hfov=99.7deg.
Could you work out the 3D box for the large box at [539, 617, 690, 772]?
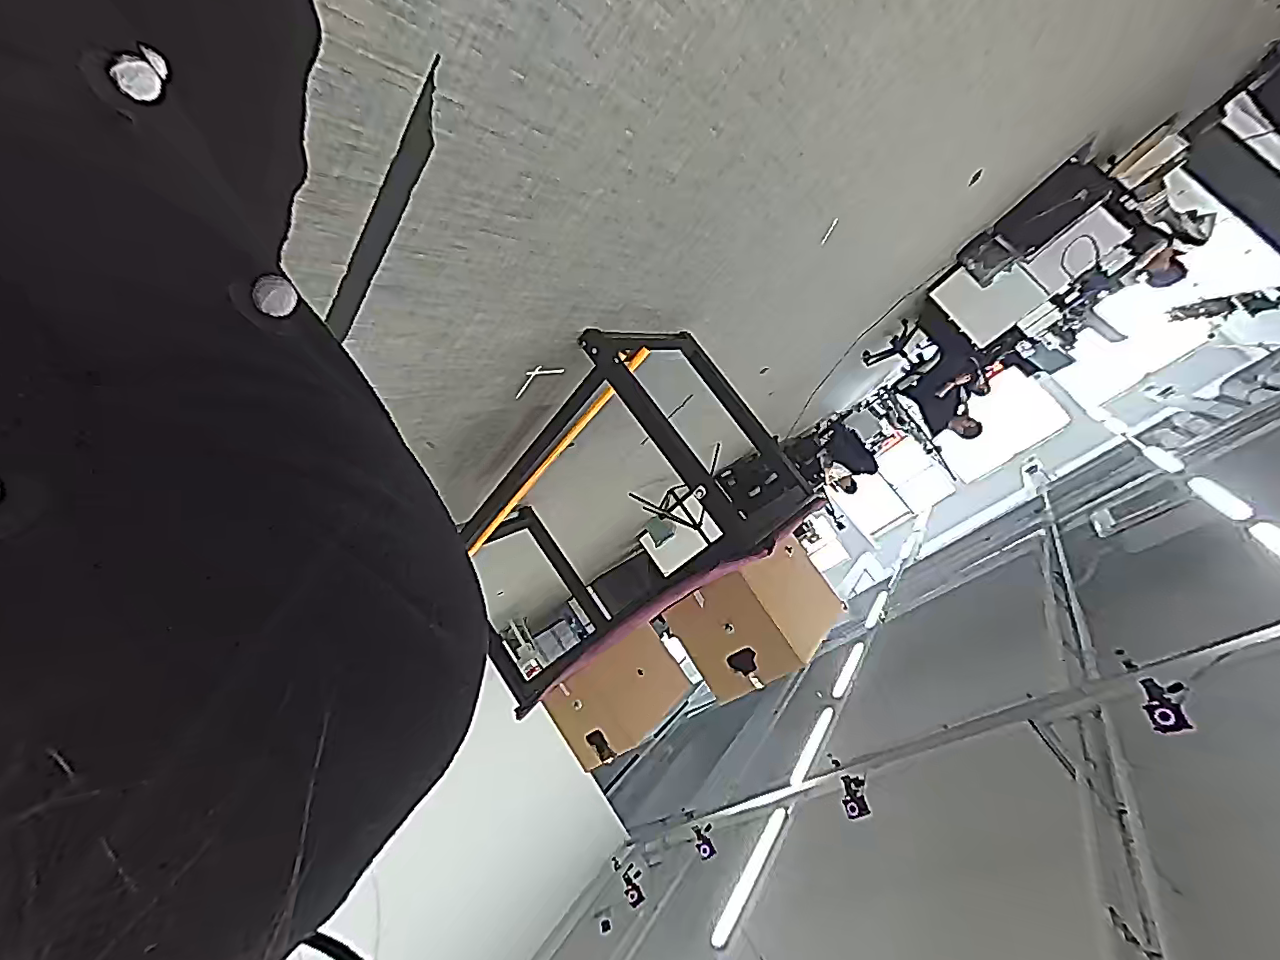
[{"bbox_3d":[-0.092,0.780,2.007,0.320,0.320,0.408,-43,169,33],"label":"large box"}]
